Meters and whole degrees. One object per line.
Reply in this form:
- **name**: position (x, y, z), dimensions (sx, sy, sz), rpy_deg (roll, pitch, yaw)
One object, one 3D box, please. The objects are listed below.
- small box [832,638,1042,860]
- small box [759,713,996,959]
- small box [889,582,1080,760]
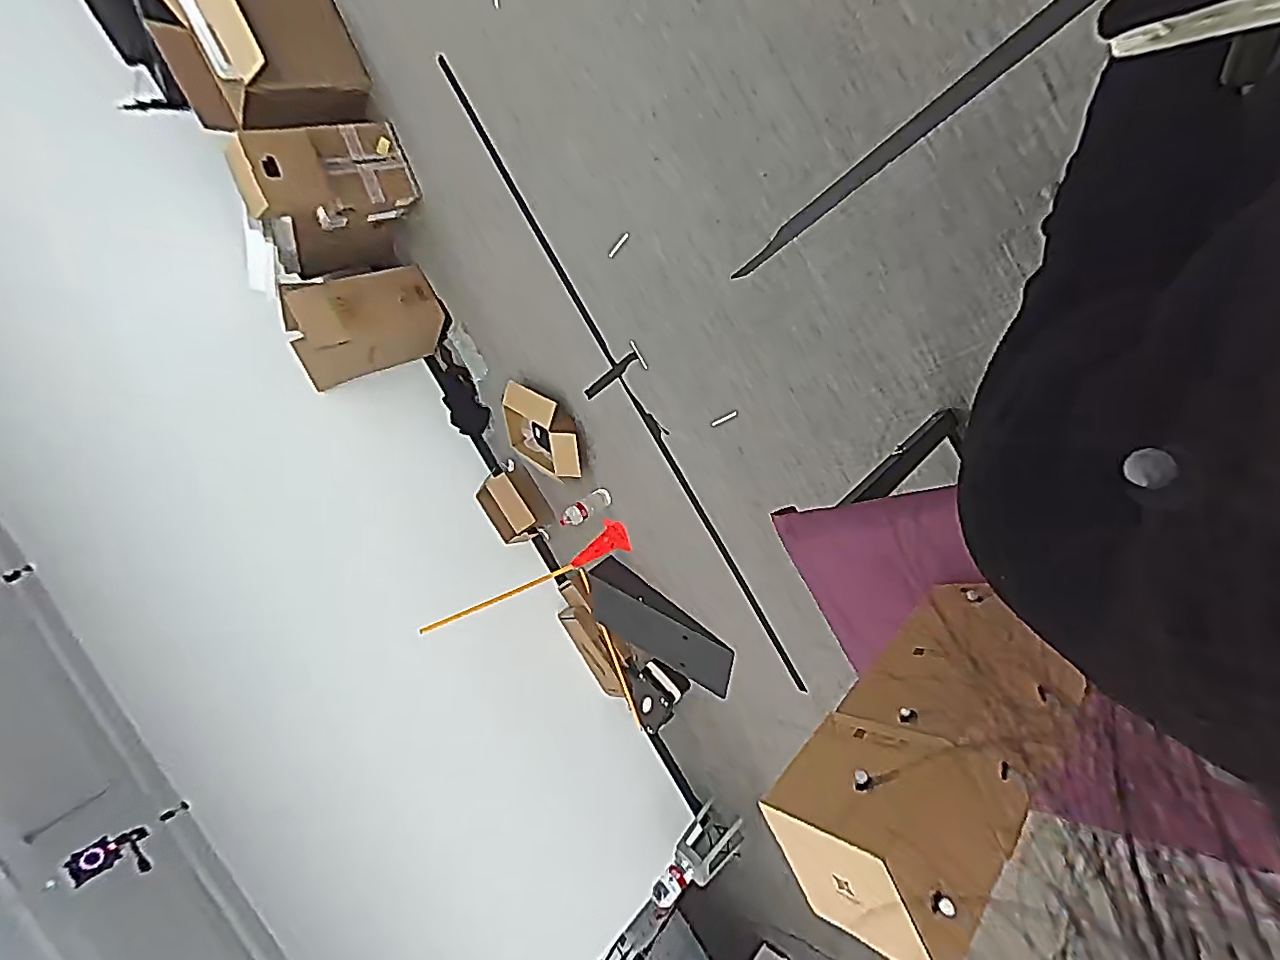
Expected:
- **small box**: position (0.399, 0.341, 0.723), dimensions (0.168, 0.176, 0.179), rpy_deg (-15, 105, 56)
- **small box**: position (0.279, 0.408, 0.635), dimensions (0.168, 0.176, 0.179), rpy_deg (-16, 104, 56)
- **small box**: position (0.519, 0.272, 0.811), dimensions (0.168, 0.176, 0.179), rpy_deg (-19, 101, 56)
